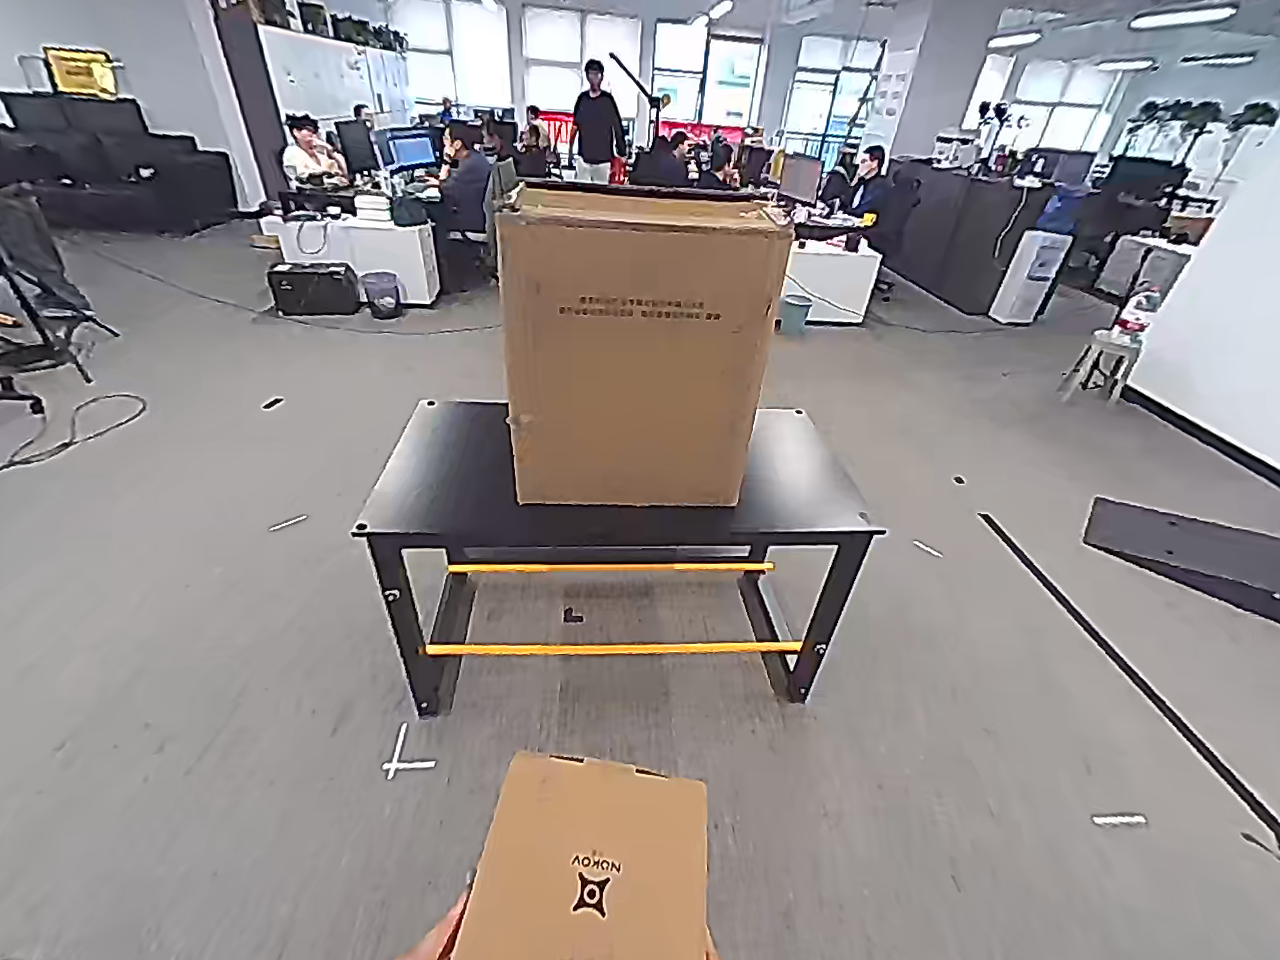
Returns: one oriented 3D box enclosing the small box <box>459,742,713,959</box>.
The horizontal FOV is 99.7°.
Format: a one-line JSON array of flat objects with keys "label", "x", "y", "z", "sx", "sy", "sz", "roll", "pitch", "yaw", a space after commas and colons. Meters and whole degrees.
[{"label": "small box", "x": -0.039, "y": 0.350, "z": 0.435, "sx": 0.168, "sy": 0.176, "sz": 0.179, "roll": 9, "pitch": 35, "yaw": 1}]
